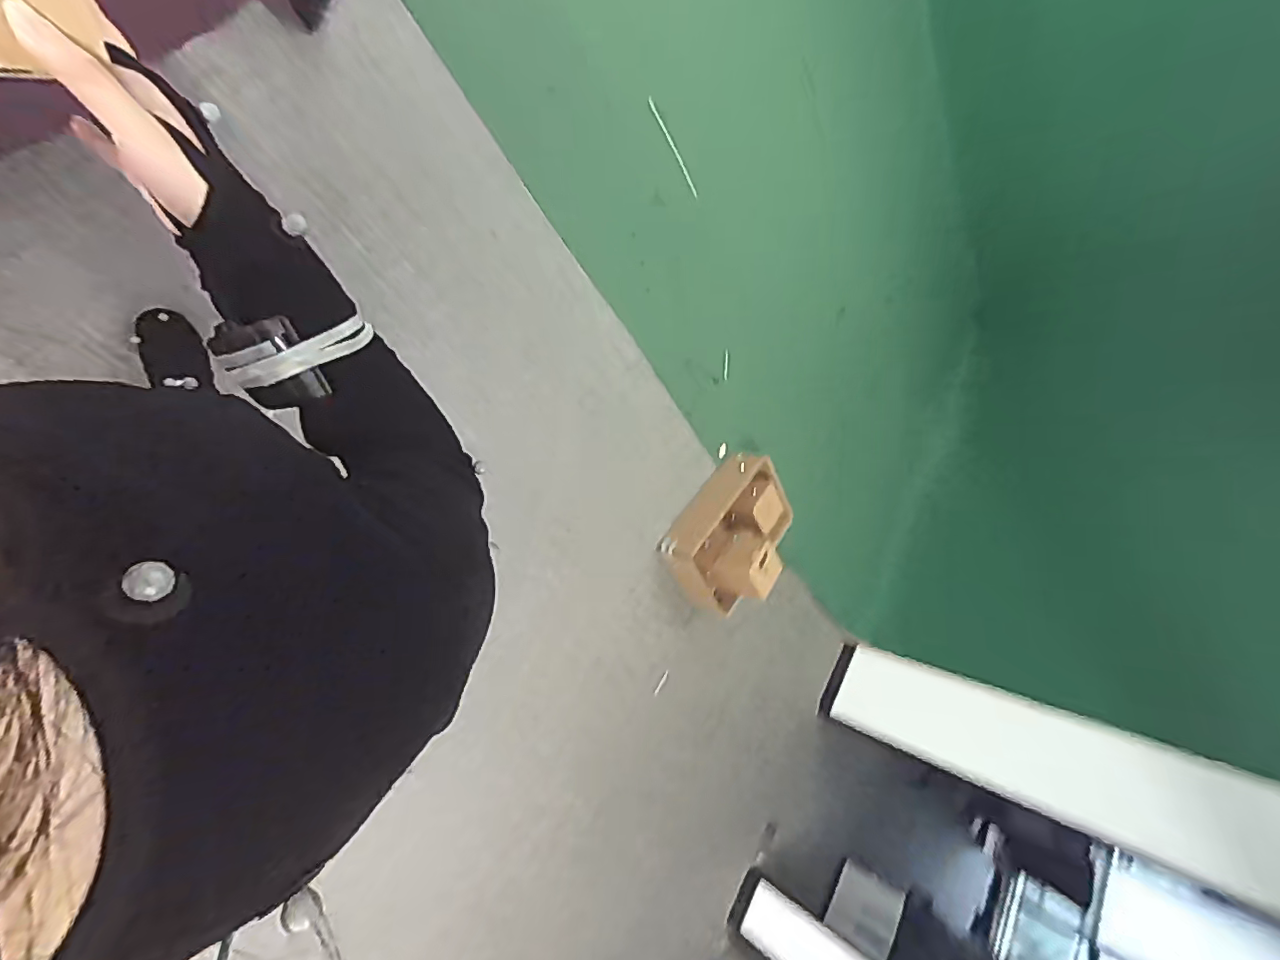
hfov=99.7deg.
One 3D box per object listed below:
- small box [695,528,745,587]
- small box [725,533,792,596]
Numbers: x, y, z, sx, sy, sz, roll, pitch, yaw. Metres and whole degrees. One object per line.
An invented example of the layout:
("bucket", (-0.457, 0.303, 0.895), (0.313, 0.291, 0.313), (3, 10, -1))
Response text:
("small box", (0.360, 0.314, 2.248), (0.168, 0.176, 0.179), (-52, 125, -23))
("small box", (0.459, 0.322, 2.117), (0.168, 0.176, 0.179), (-51, 126, -25))
